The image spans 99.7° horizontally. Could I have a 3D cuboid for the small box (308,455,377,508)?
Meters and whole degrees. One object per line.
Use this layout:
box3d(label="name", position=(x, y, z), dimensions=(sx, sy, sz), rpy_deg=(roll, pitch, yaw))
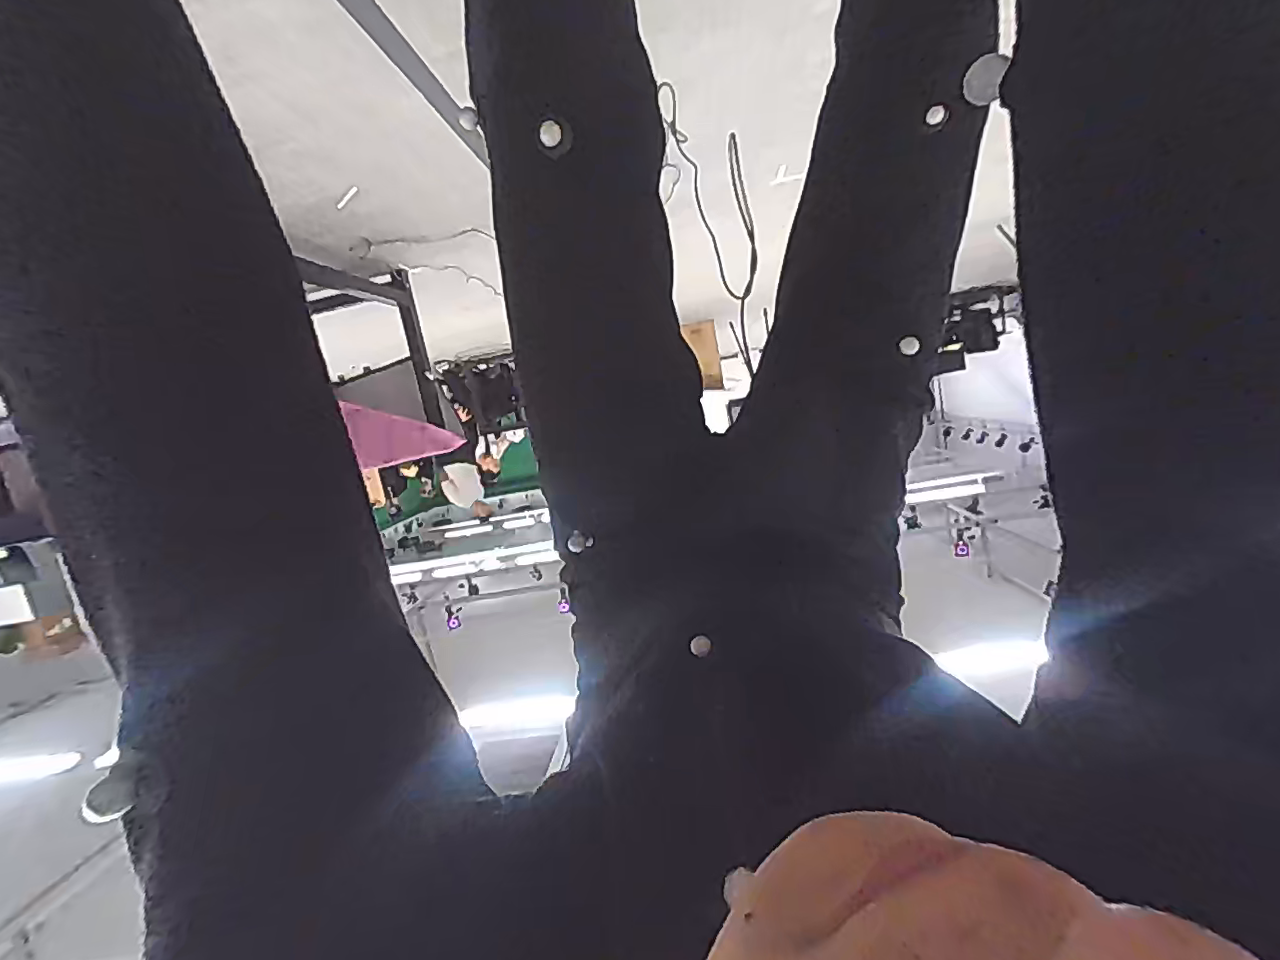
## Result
box3d(label="small box", position=(-1.190, 0.002, 2.159), dimensions=(0.179, 0.176, 0.168), rpy_deg=(-11, -170, 5))
